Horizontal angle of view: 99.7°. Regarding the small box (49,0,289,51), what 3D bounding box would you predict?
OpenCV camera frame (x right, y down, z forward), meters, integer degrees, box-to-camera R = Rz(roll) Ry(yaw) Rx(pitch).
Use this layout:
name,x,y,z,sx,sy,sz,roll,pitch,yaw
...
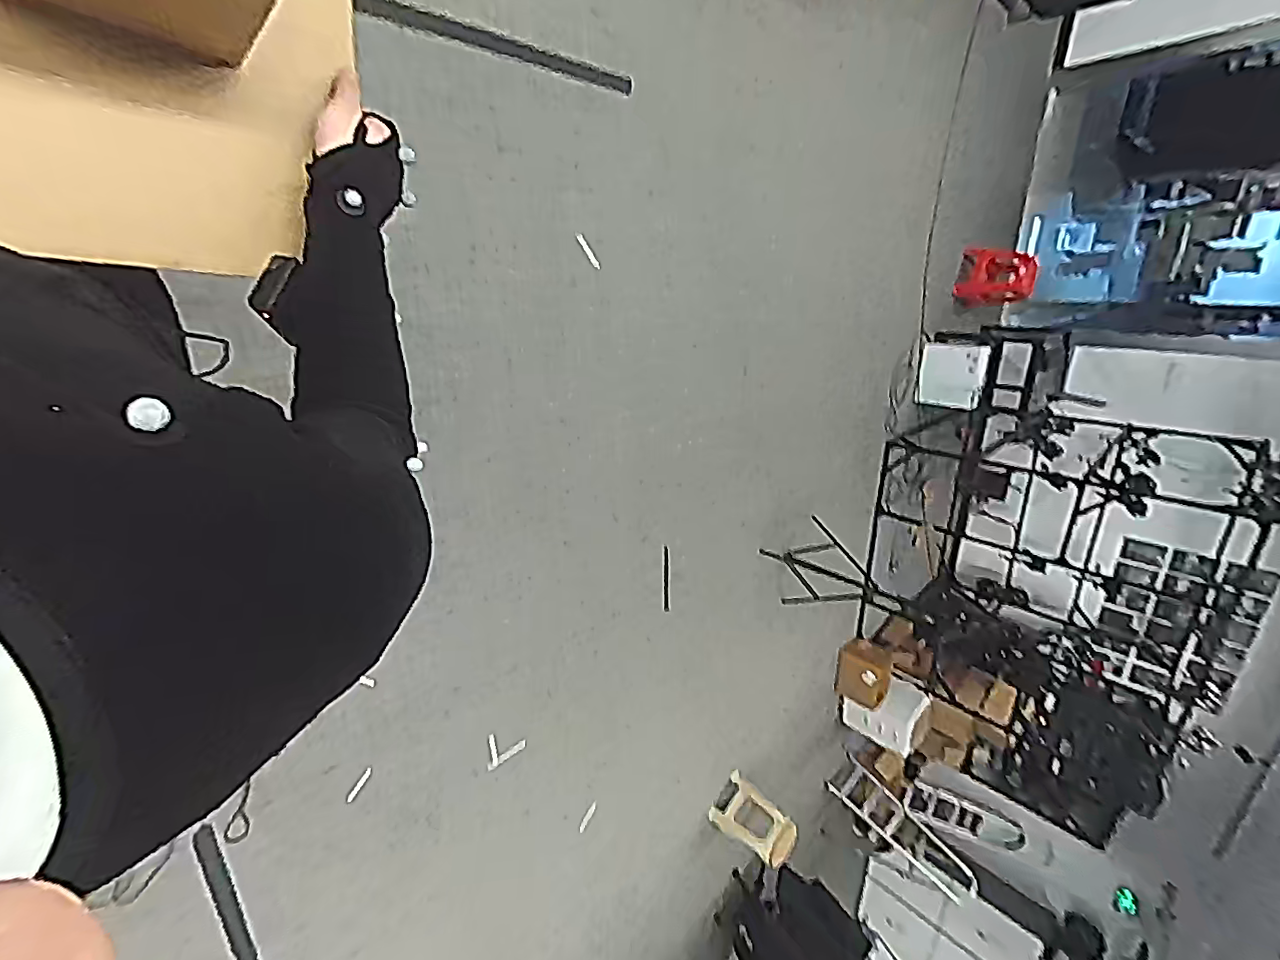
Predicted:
name,x,y,z,sx,sy,sz,roll,pitch,yaw
small box,-0.332,-0.396,0.322,0.179,0.176,0.168,-9,111,-41
